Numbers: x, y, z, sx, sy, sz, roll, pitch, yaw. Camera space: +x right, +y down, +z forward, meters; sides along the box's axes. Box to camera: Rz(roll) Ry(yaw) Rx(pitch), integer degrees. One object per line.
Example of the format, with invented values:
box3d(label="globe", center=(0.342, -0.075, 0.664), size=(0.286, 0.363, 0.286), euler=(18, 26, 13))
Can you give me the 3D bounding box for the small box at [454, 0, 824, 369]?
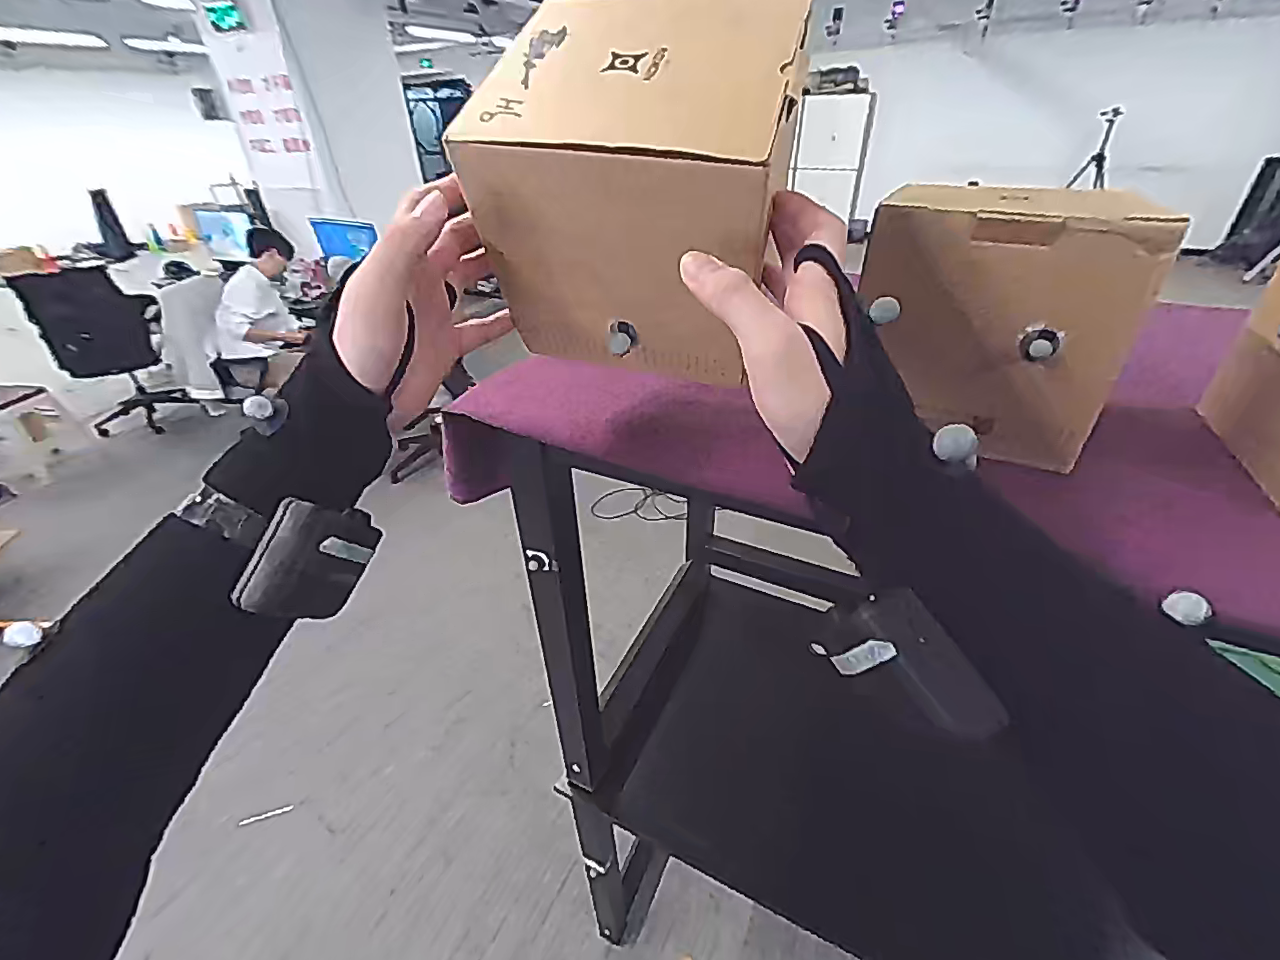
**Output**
box3d(label="small box", center=(0.011, -0.200, 0.376), size=(0.179, 0.176, 0.168), euler=(13, 62, 12))
